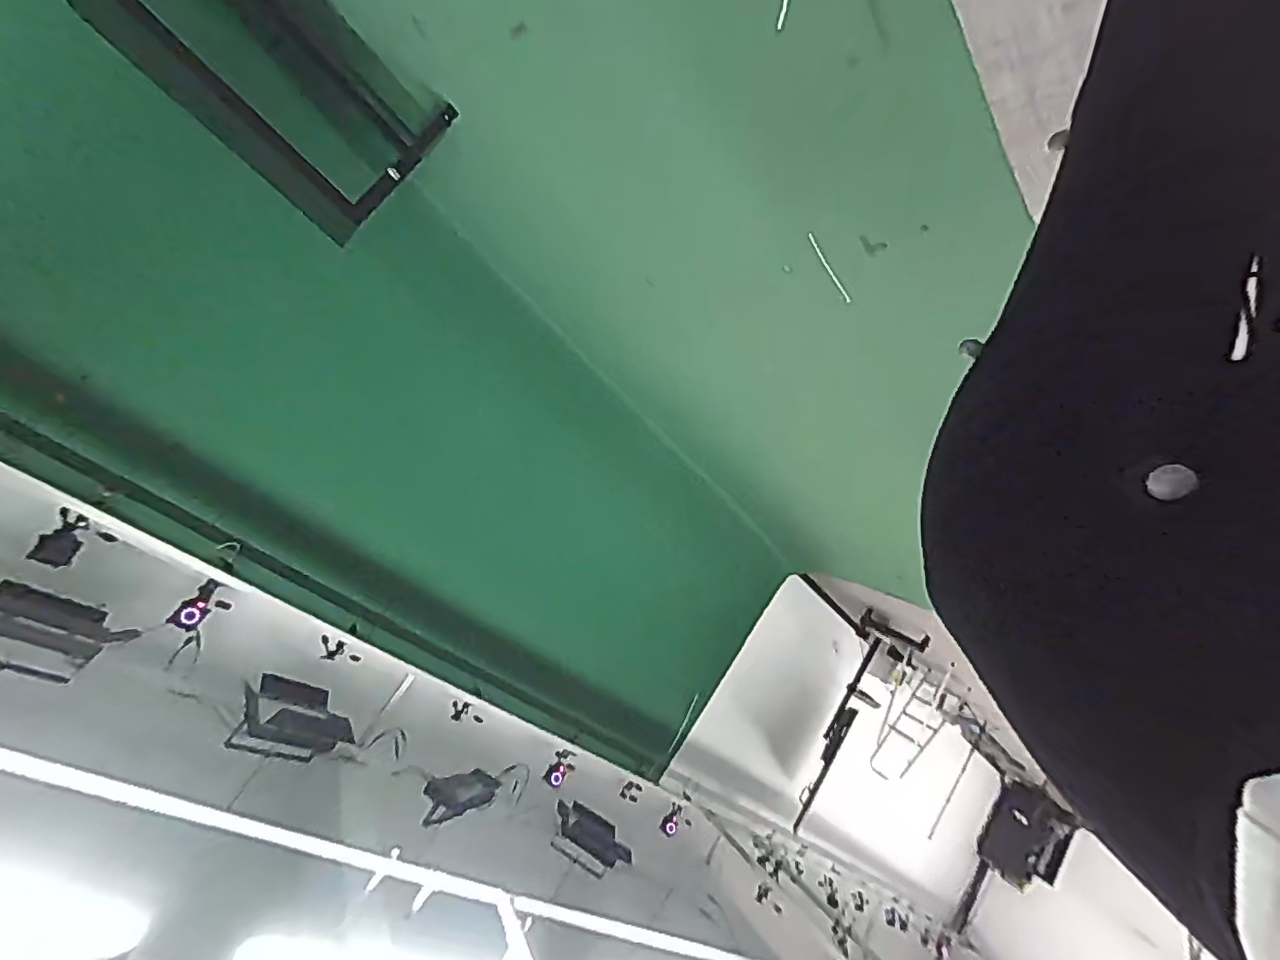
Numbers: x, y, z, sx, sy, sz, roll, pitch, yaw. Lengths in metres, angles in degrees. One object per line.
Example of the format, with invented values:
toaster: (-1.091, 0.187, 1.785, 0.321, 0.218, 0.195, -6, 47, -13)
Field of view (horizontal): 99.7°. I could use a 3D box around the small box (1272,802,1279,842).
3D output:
small box: (1.835, 0.917, 1.442, 0.179, 0.176, 0.168, 43, 167, -32)
